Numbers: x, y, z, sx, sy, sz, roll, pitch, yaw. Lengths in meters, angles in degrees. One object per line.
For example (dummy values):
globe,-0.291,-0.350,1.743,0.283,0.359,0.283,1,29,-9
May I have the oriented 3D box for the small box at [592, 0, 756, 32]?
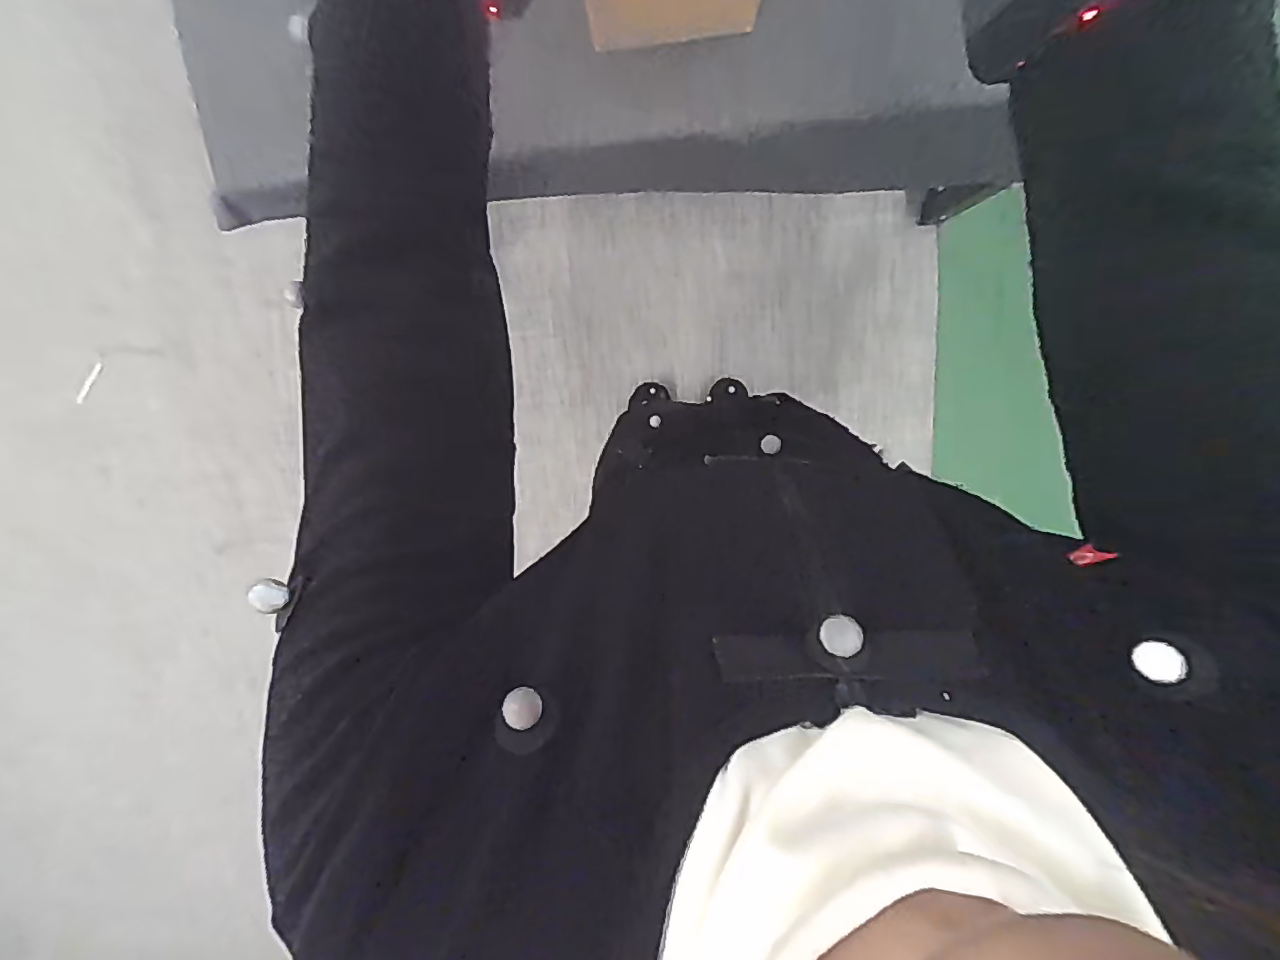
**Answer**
small box,0.029,-0.560,0.502,0.179,0.176,0.168,-5,102,3
